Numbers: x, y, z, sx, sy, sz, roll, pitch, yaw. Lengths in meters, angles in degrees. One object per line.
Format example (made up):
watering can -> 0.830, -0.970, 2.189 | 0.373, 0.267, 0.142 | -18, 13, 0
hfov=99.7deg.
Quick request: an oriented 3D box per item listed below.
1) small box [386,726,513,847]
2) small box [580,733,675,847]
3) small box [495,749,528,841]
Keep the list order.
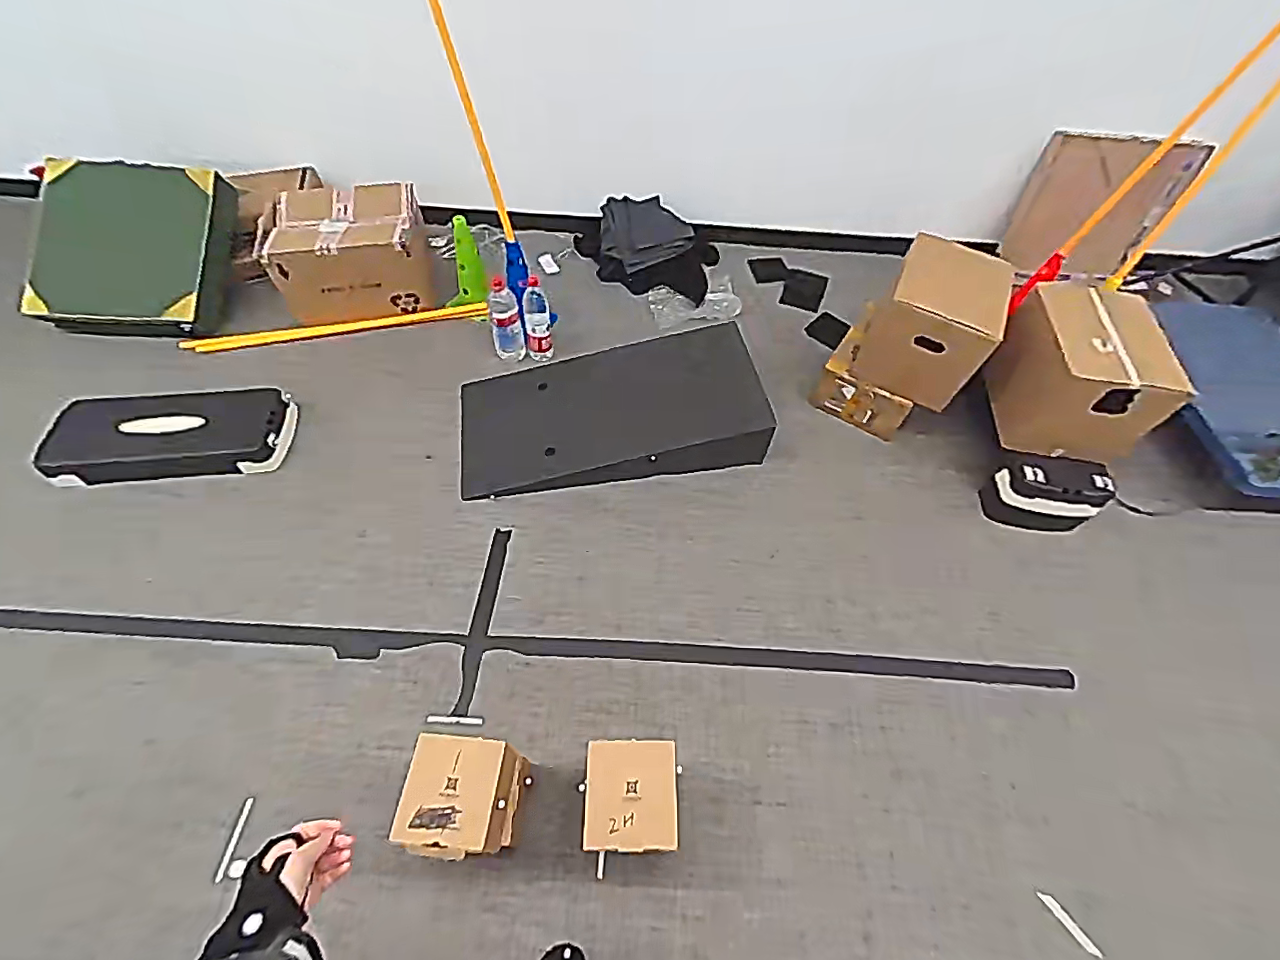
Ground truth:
small box -> -0.347, 0.586, 1.029 | 0.168, 0.176, 0.179 | 6, 55, 0
small box -> -0.023, 0.597, 1.037 | 0.168, 0.176, 0.179 | 2, 57, -1
small box -> -0.346, 0.675, 1.166 | 0.179, 0.176, 0.168 | 4, 56, -1
